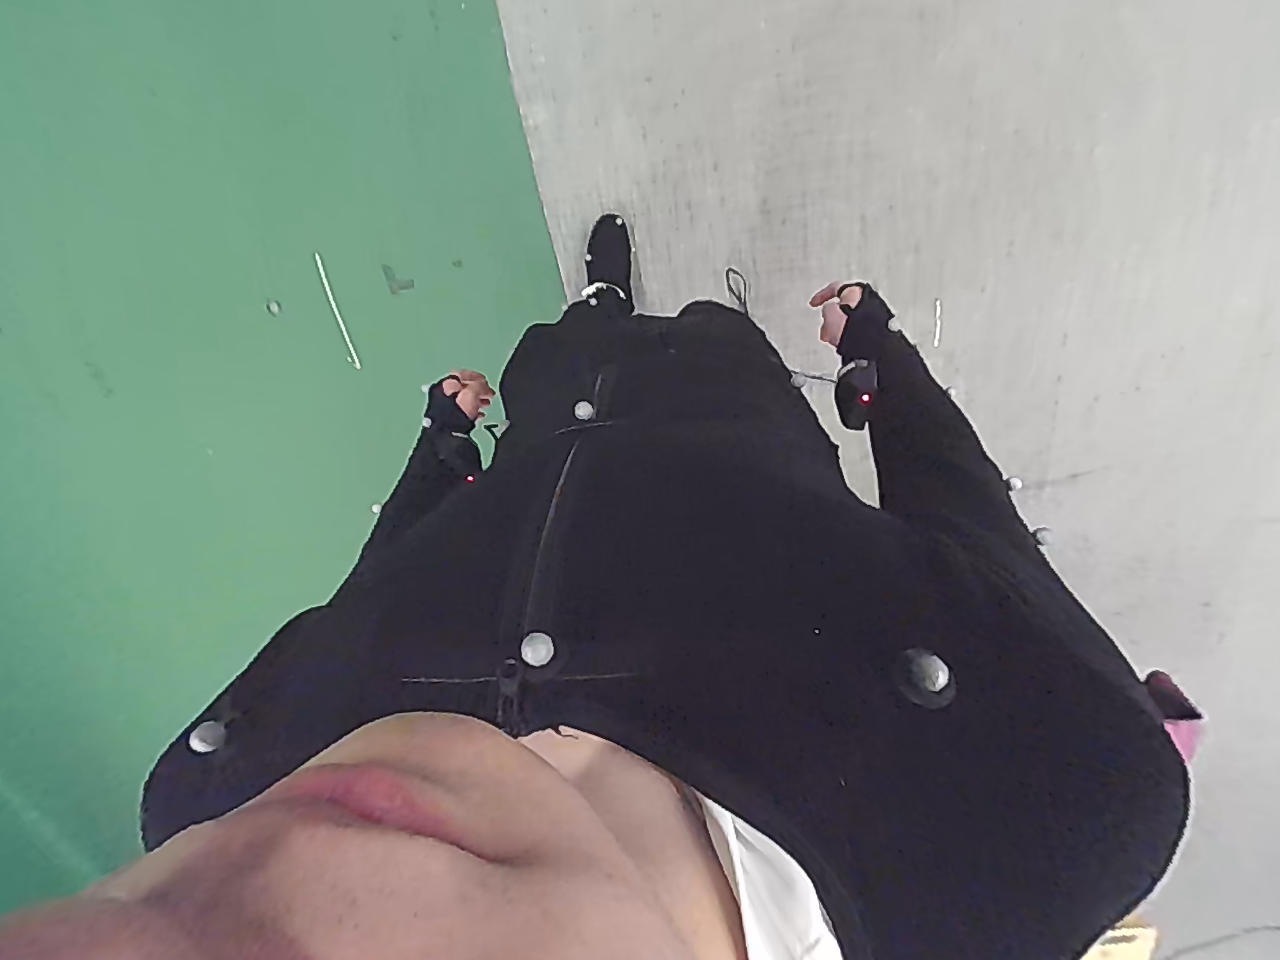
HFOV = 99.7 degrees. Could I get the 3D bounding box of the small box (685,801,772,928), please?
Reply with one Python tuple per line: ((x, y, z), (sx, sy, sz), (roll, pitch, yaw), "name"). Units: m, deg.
((0.191, 0.841, 1.188), (0.168, 0.176, 0.179), (-7, 115, 5), "small box")
